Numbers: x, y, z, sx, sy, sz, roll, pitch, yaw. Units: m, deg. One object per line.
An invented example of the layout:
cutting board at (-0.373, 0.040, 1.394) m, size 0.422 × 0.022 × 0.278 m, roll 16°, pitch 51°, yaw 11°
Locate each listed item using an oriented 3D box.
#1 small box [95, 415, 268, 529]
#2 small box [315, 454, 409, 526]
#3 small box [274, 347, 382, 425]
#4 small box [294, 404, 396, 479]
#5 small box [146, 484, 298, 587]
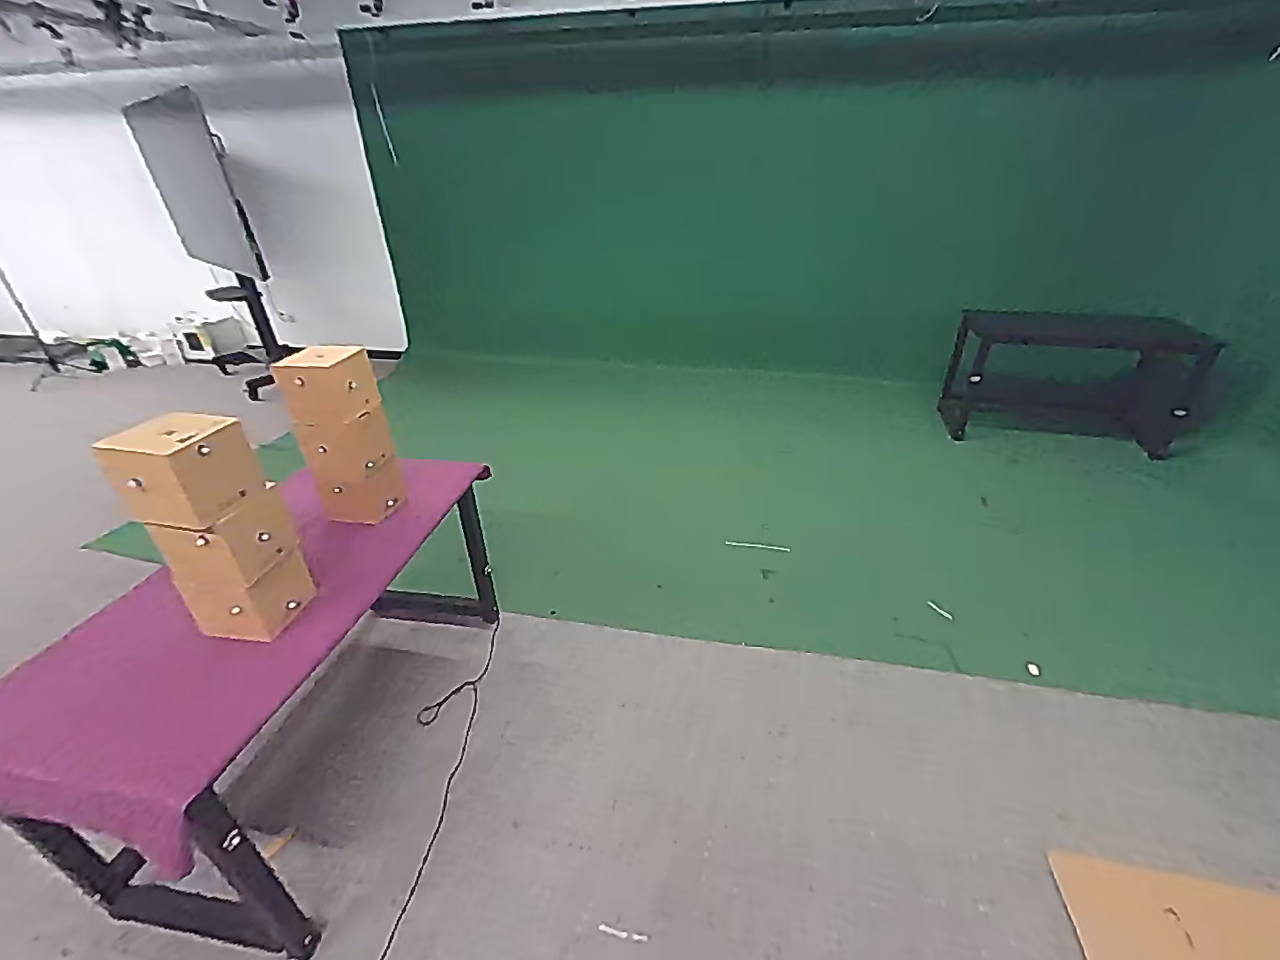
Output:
small box at (-0.908, -0.018, 1.088) m, size 0.179 × 0.176 × 0.168 m, roll 5°, pitch 32°, yaw 10°
small box at (-0.846, 0.025, 1.661) m, size 0.179 × 0.176 × 0.168 m, roll 5°, pitch 33°, yaw 11°
small box at (-0.854, -0.259, 1.502) m, size 0.179 × 0.176 × 0.168 m, roll 2°, pitch 32°, yaw 10°
small box at (-0.849, -0.115, 1.576) m, size 0.179 × 0.176 × 0.168 m, roll 3°, pitch 32°, yaw 12°
small box at (-0.898, 0.116, 1.184) m, size 0.179 × 0.176 × 0.168 m, roll 3°, pitch 30°, yaw 7°
